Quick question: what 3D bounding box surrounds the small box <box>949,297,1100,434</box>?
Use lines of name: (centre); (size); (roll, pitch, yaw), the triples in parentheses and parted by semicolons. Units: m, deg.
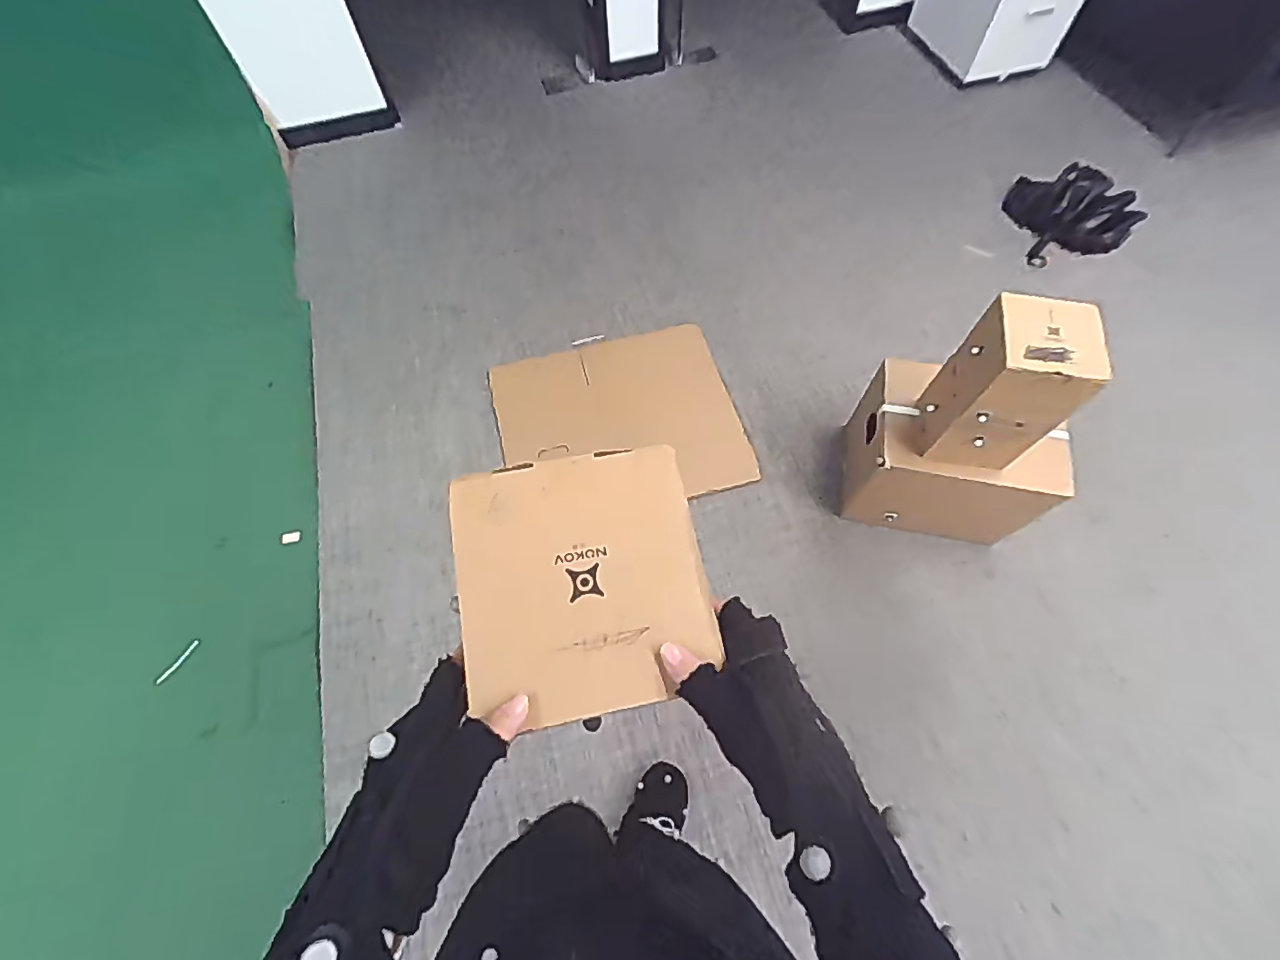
small box: (0.700, -0.208, 1.007); (0.168, 0.176, 0.179); (11, 63, 7)

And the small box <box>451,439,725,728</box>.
small box: (-0.046, 0.089, 0.446); (0.168, 0.176, 0.179); (-11, 71, -8)

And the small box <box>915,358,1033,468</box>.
small box: (0.712, -0.139, 1.160); (0.179, 0.176, 0.168); (6, 62, 4)
